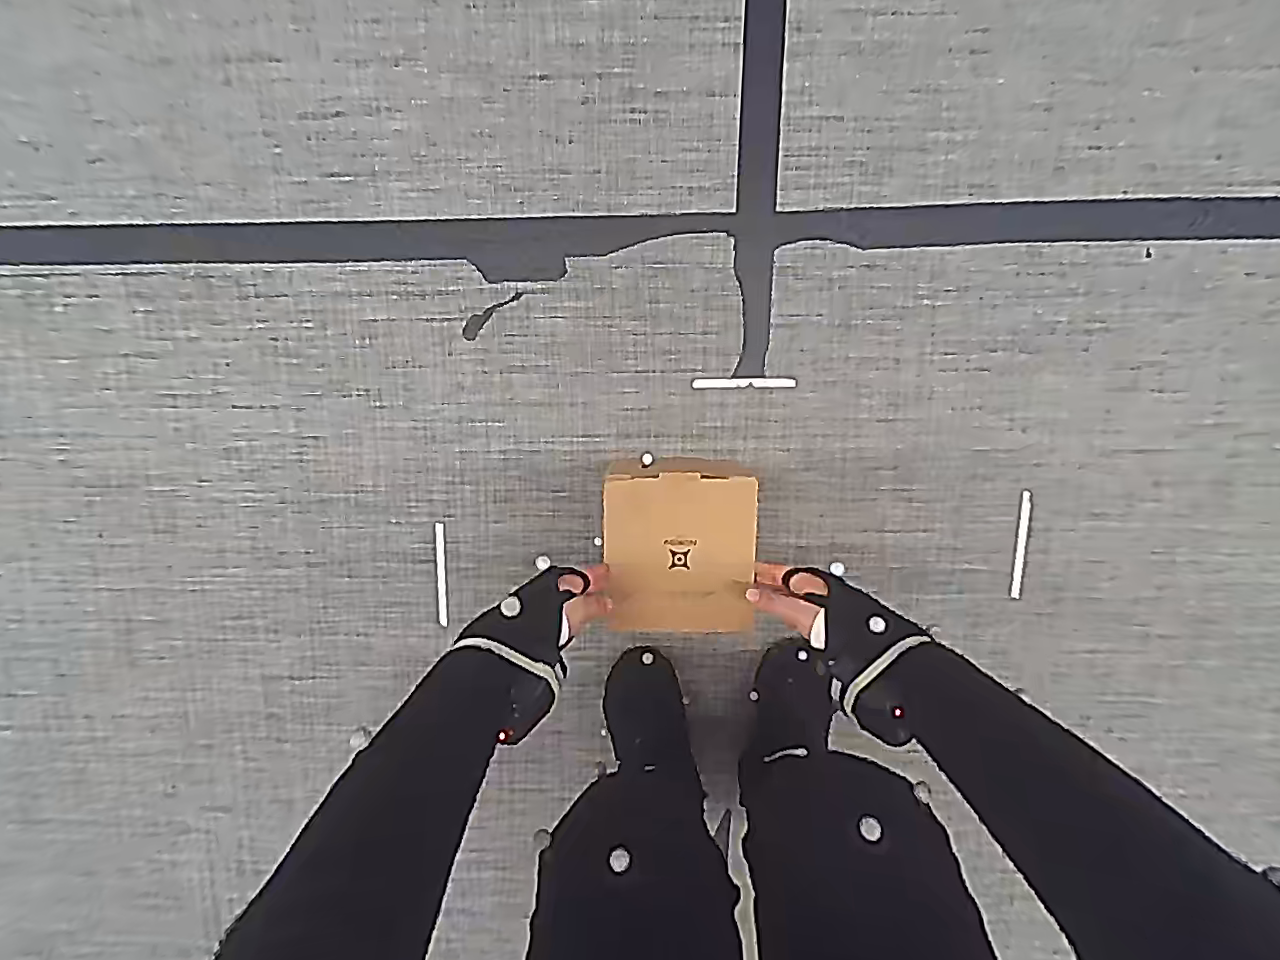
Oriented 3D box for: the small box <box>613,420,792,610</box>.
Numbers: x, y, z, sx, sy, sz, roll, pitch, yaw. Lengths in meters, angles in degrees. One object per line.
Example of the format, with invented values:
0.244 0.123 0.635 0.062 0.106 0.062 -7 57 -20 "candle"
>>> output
0.058 0.025 0.583 0.168 0.176 0.179 1 99 2 "small box"
